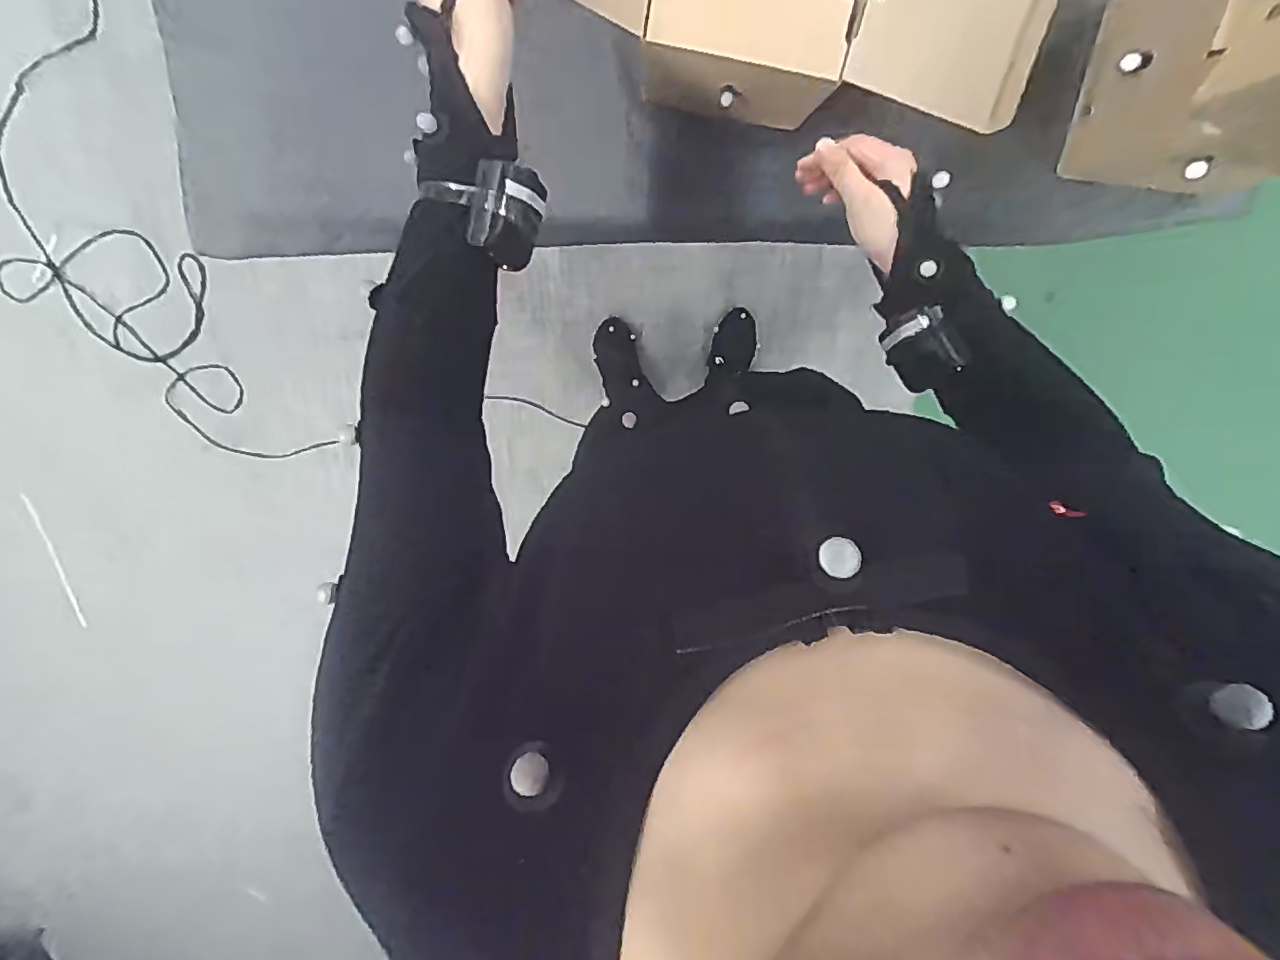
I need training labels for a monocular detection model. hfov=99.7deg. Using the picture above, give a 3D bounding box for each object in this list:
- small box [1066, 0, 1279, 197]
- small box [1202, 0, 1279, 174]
[{"bbox_3d":[0.563,-0.379,0.511,0.179,0.176,0.168,6,108,-1],"label":"small box"},{"bbox_3d":[0.564,-0.313,0.361,0.179,0.176,0.168,26,106,-8],"label":"small box"}]
